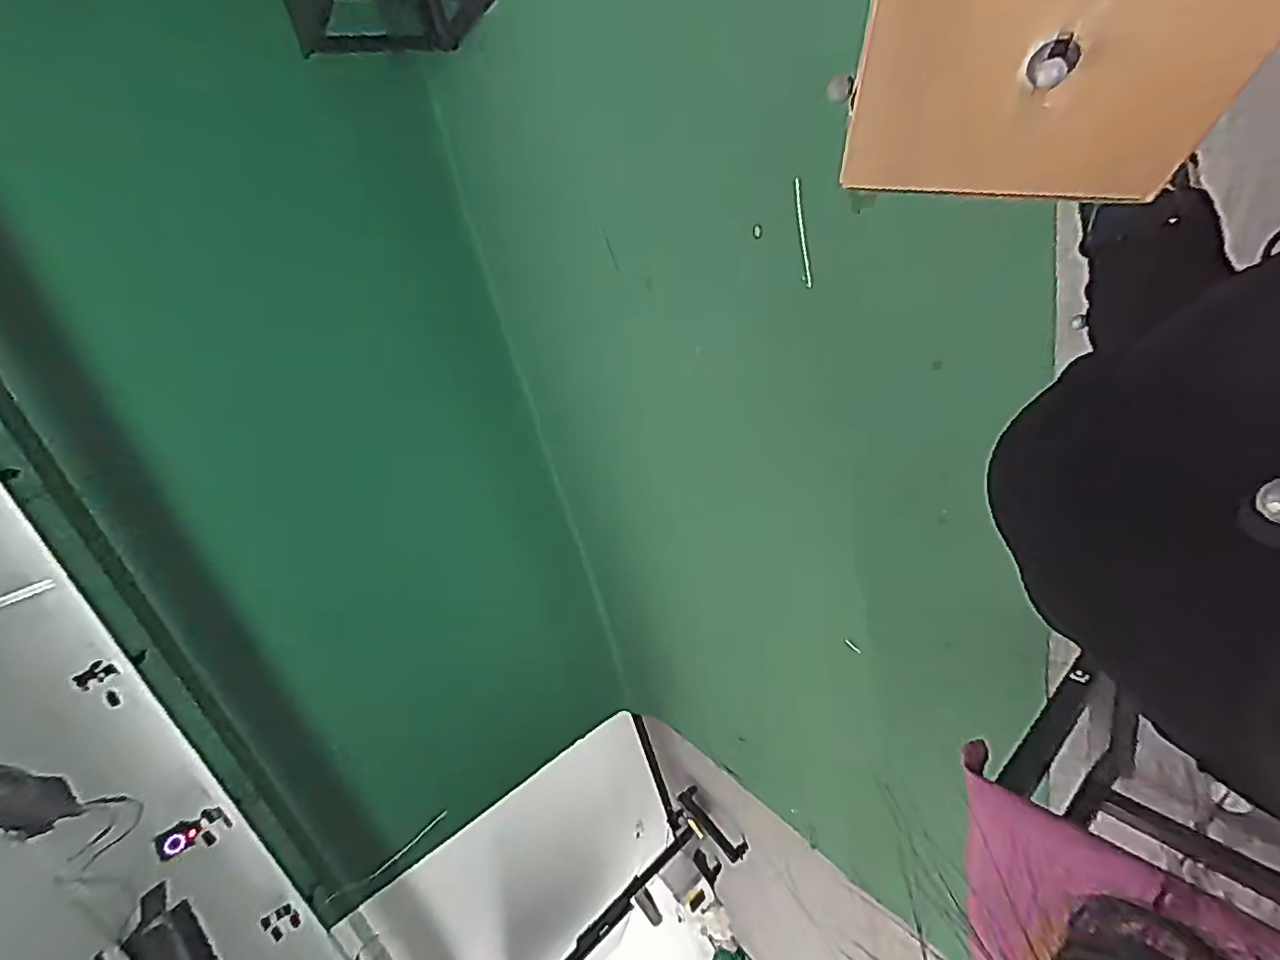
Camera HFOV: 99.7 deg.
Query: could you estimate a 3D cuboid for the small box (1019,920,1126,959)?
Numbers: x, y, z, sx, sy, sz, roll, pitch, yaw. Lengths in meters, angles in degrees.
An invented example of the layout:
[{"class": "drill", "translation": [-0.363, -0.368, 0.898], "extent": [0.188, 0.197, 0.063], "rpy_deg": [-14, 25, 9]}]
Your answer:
[{"class": "small box", "translation": [0.788, 0.939, 0.949], "extent": [0.179, 0.176, 0.168], "rpy_deg": [-18, 98, 60]}]
